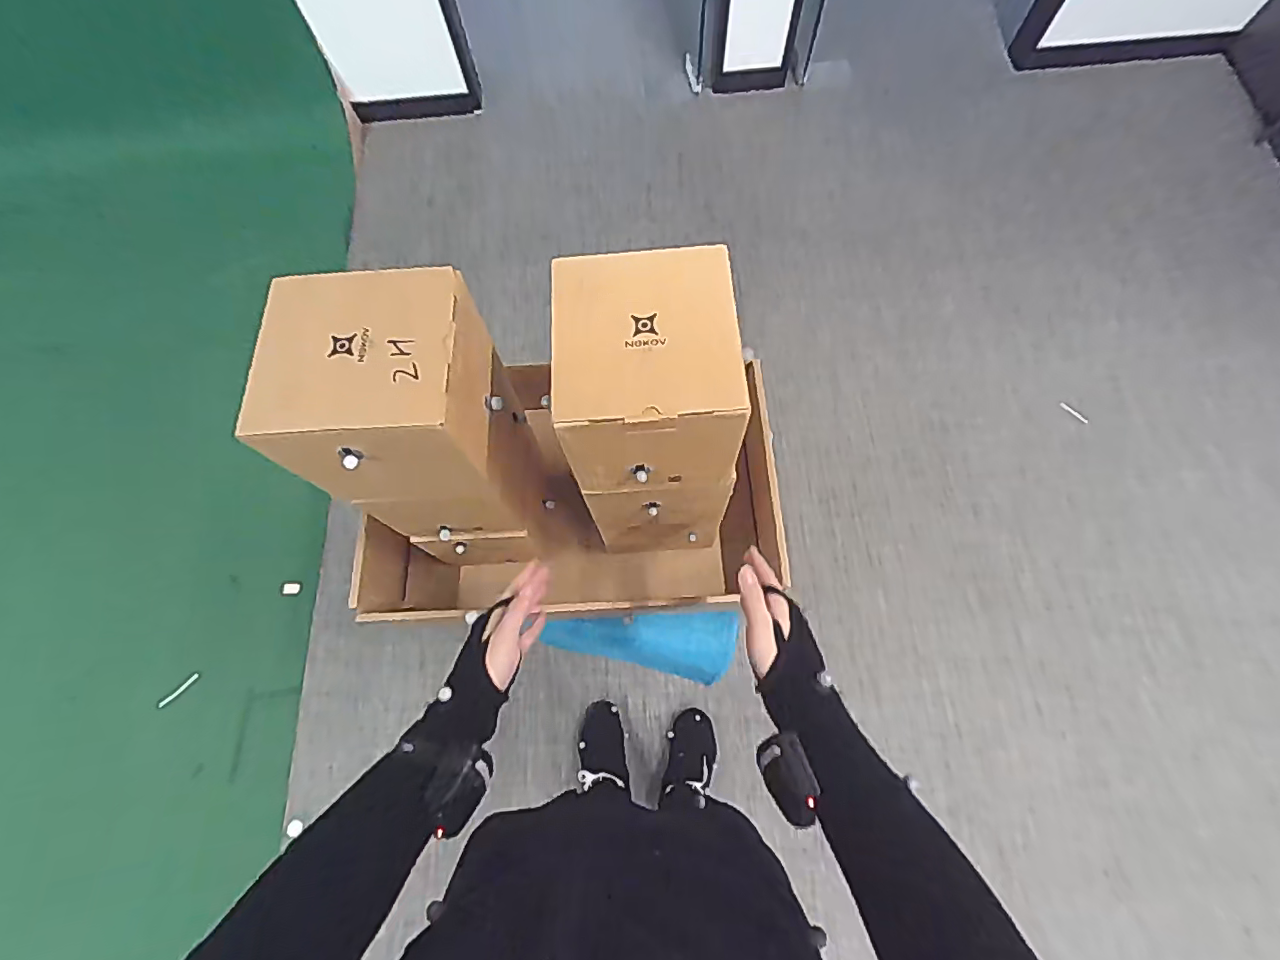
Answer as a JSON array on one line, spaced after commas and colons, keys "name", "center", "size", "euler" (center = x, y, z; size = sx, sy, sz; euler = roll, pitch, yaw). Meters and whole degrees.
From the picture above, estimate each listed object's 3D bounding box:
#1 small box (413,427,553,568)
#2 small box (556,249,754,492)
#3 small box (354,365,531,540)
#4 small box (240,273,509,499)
[{"name": "small box", "center": [-0.235, 0.033, 0.854], "size": [0.168, 0.176, 0.179], "euler": [-3, 69, 1]}, {"name": "small box", "center": [0.010, -0.101, 0.546], "size": [0.168, 0.176, 0.179], "euler": [-4, 70, 1]}, {"name": "small box", "center": [-0.241, -0.030, 0.704], "size": [0.168, 0.176, 0.179], "euler": [-3, 69, 0]}, {"name": "small box", "center": [-0.246, -0.084, 0.549], "size": [0.179, 0.176, 0.168], "euler": [-3, 69, 1]}]
